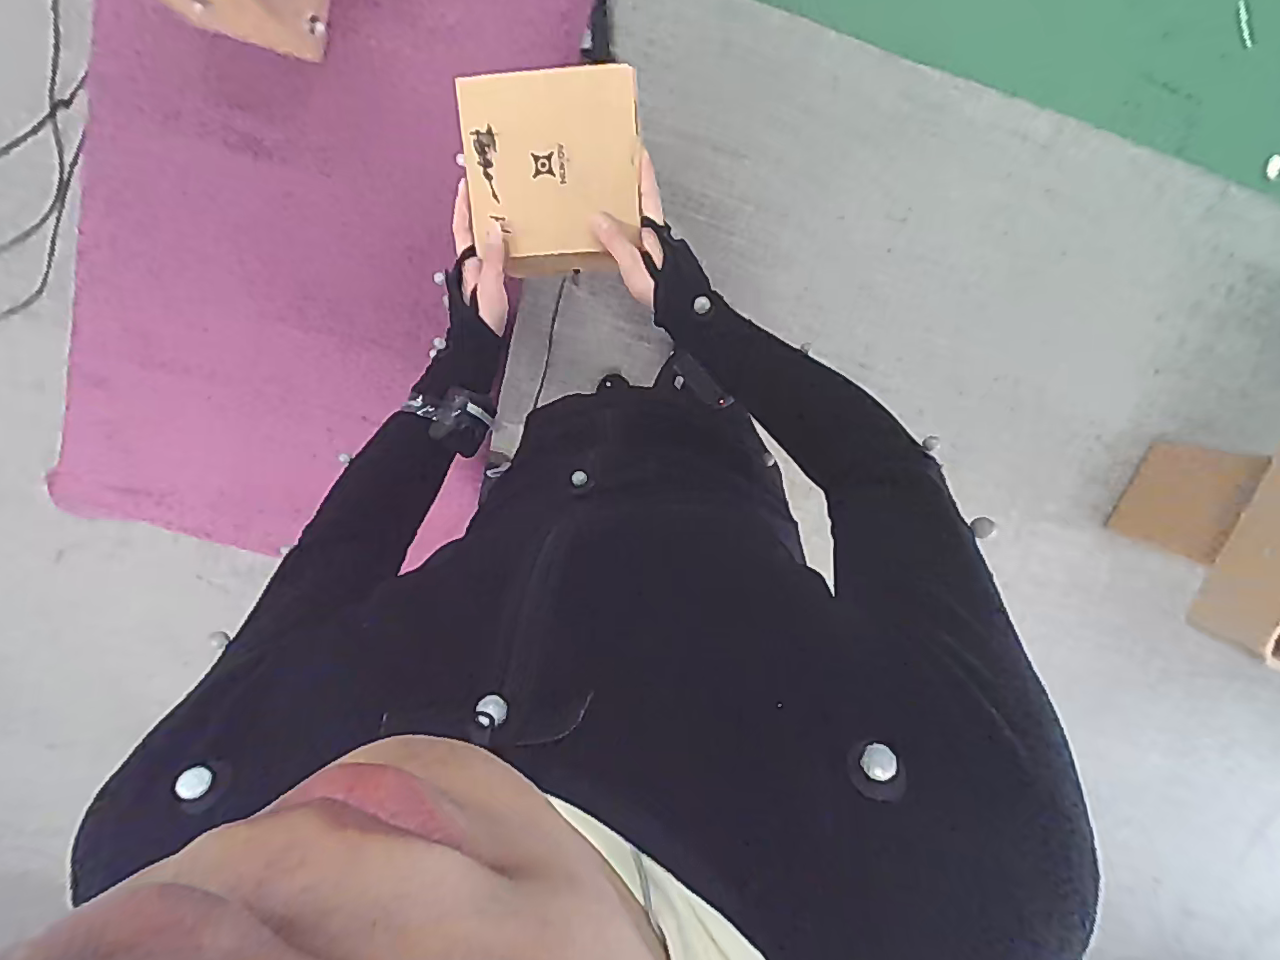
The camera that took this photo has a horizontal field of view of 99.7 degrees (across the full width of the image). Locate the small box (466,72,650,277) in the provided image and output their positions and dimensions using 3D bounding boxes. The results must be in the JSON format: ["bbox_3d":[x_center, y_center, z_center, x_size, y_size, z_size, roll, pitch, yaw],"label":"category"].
[{"bbox_3d":[-0.079,-0.327,0.610,0.179,0.176,0.168,-1,104,1],"label":"small box"}]
